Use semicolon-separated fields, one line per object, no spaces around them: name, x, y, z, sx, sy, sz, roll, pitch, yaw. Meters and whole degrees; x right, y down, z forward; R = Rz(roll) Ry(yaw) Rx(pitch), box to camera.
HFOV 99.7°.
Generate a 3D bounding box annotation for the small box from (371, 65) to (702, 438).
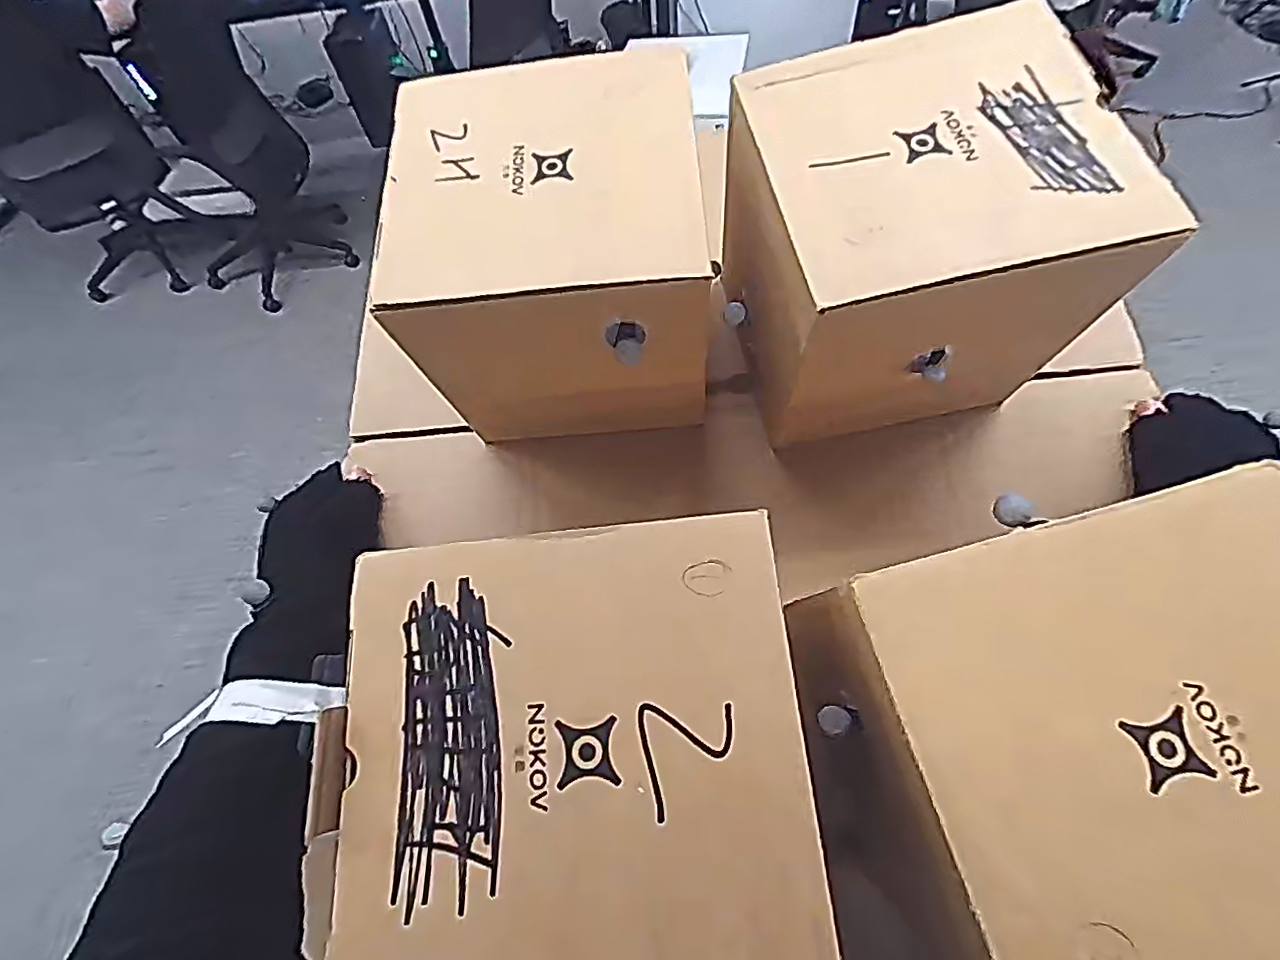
small box;-0.051;-0.140;0.379;0.179;0.176;0.168;-4;69;5
